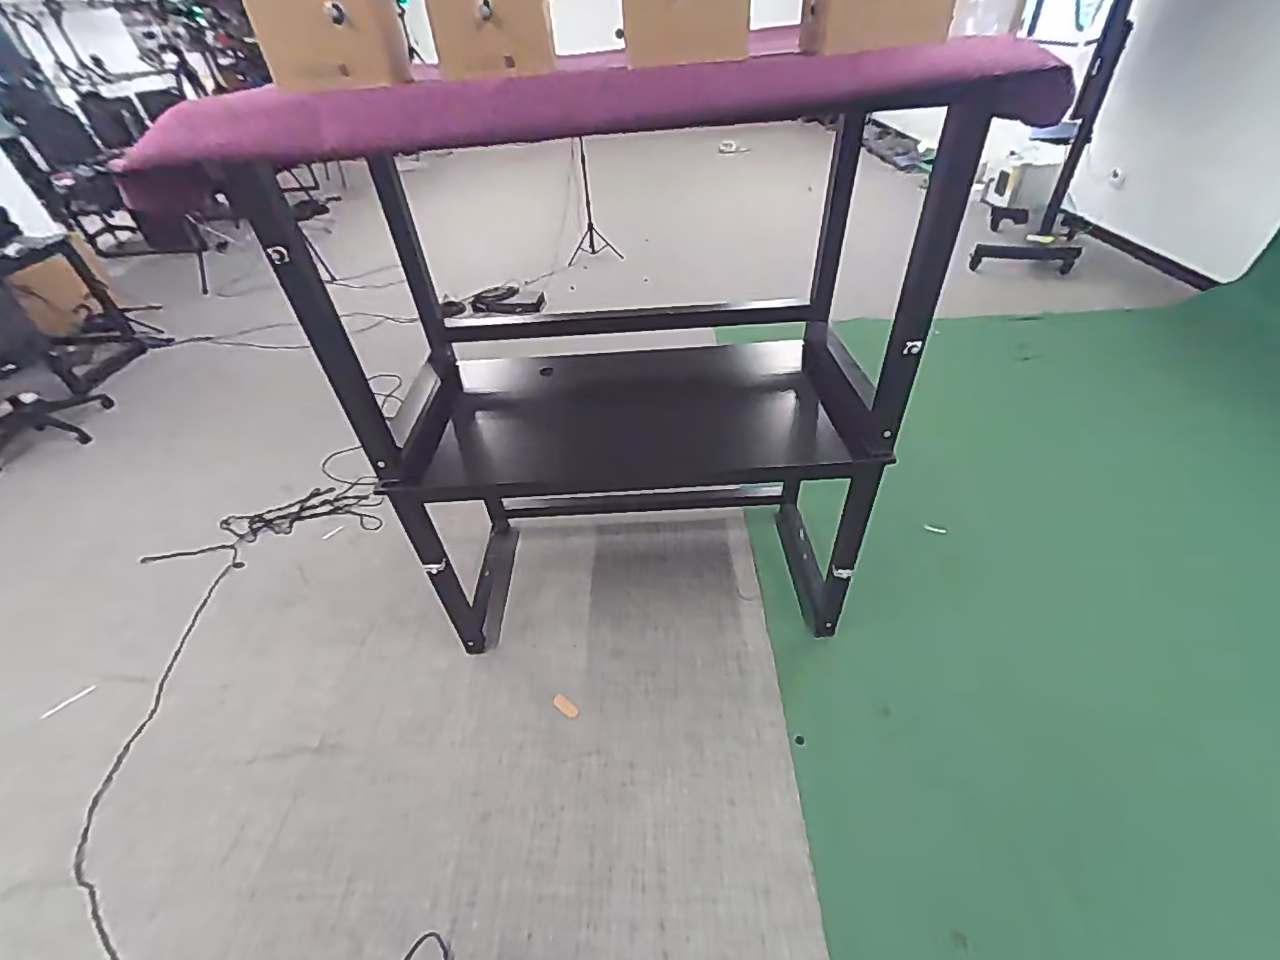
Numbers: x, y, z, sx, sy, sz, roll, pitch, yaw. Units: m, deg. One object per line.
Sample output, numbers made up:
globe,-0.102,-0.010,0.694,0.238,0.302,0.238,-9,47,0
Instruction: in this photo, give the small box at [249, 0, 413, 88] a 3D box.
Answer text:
small box,-0.458,-0.696,0.809,0.168,0.176,0.179,-6,40,-4

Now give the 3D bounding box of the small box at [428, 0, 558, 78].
small box,-0.218,-0.716,0.813,0.168,0.176,0.179,-5,41,-2

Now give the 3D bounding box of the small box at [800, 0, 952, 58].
small box,0.344,-0.728,0.778,0.179,0.176,0.168,-4,41,3
